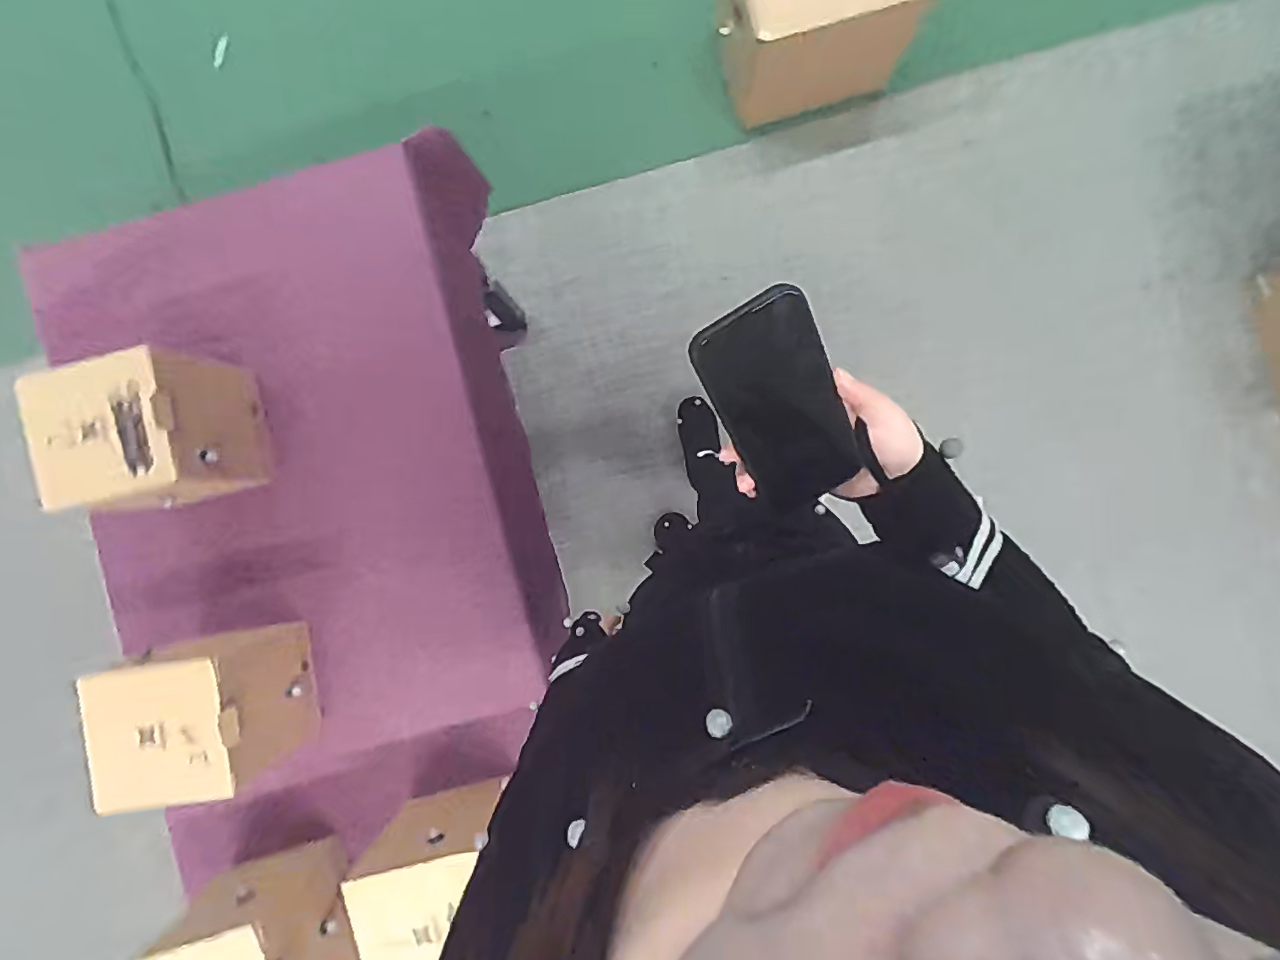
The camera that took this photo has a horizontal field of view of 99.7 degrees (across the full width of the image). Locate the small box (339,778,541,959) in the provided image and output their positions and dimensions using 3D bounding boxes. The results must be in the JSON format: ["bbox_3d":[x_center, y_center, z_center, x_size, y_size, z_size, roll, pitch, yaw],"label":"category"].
[{"bbox_3d":[-0.239,0.520,0.698,0.179,0.176,0.168,-16,88,4],"label":"small box"}]

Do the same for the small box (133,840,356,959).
[{"bbox_3d":[-0.500,0.620,0.710,0.179,0.176,0.168,-19,88,1],"label":"small box"}]

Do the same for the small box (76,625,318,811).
[{"bbox_3d":[-0.569,0.300,0.715,0.179,0.176,0.168,-8,90,2],"label":"small box"}]
